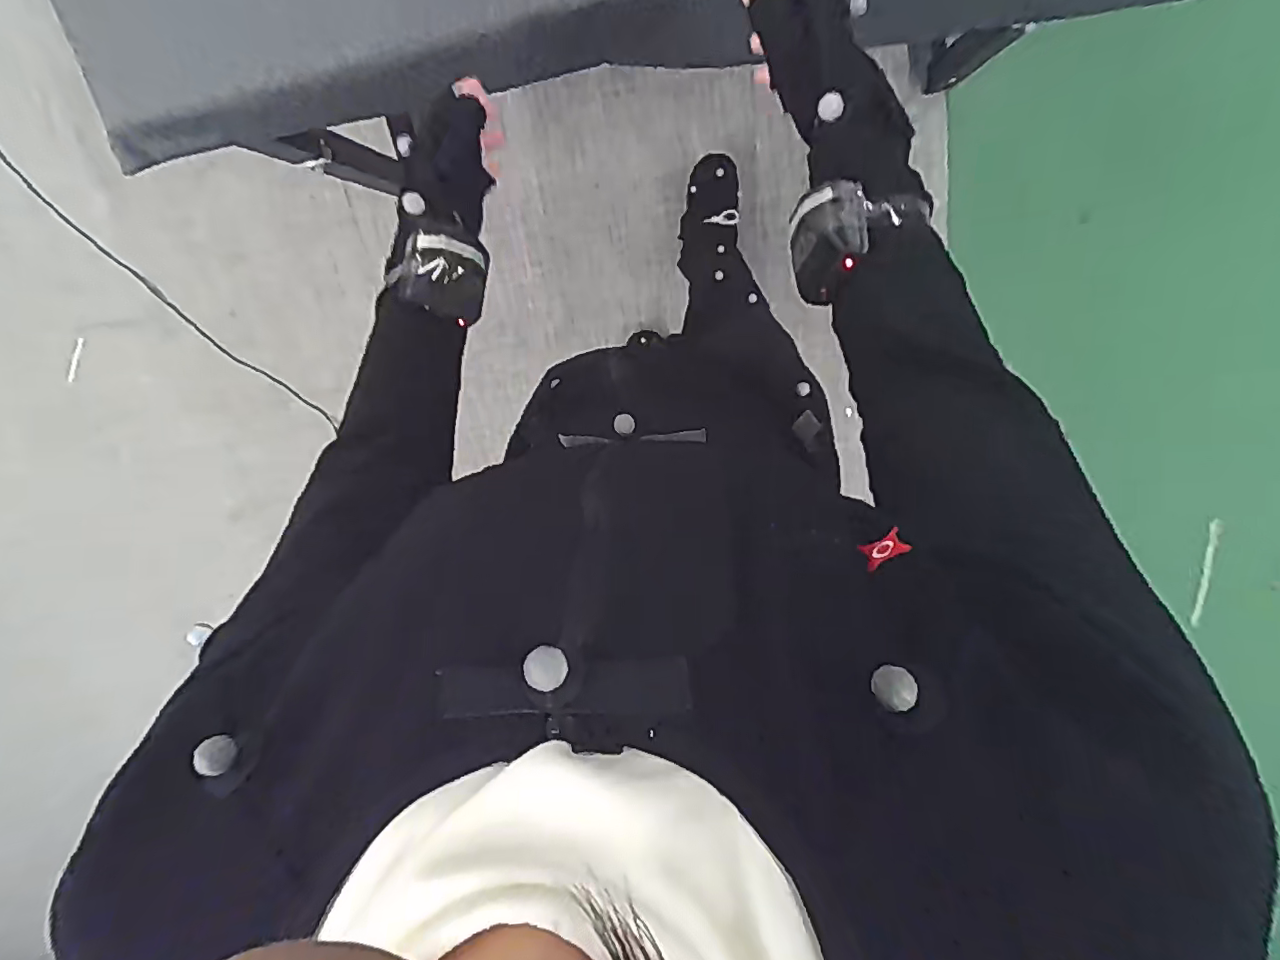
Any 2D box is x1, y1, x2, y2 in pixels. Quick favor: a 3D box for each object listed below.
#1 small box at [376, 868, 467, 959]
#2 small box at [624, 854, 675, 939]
[{"bbox_3d":[-0.612,1.256,1.529,0.168,0.176,0.179,22,107,-4],"label":"small box"},{"bbox_3d":[0.033,1.410,1.836,0.168,0.176,0.179,-1,110,4],"label":"small box"}]
